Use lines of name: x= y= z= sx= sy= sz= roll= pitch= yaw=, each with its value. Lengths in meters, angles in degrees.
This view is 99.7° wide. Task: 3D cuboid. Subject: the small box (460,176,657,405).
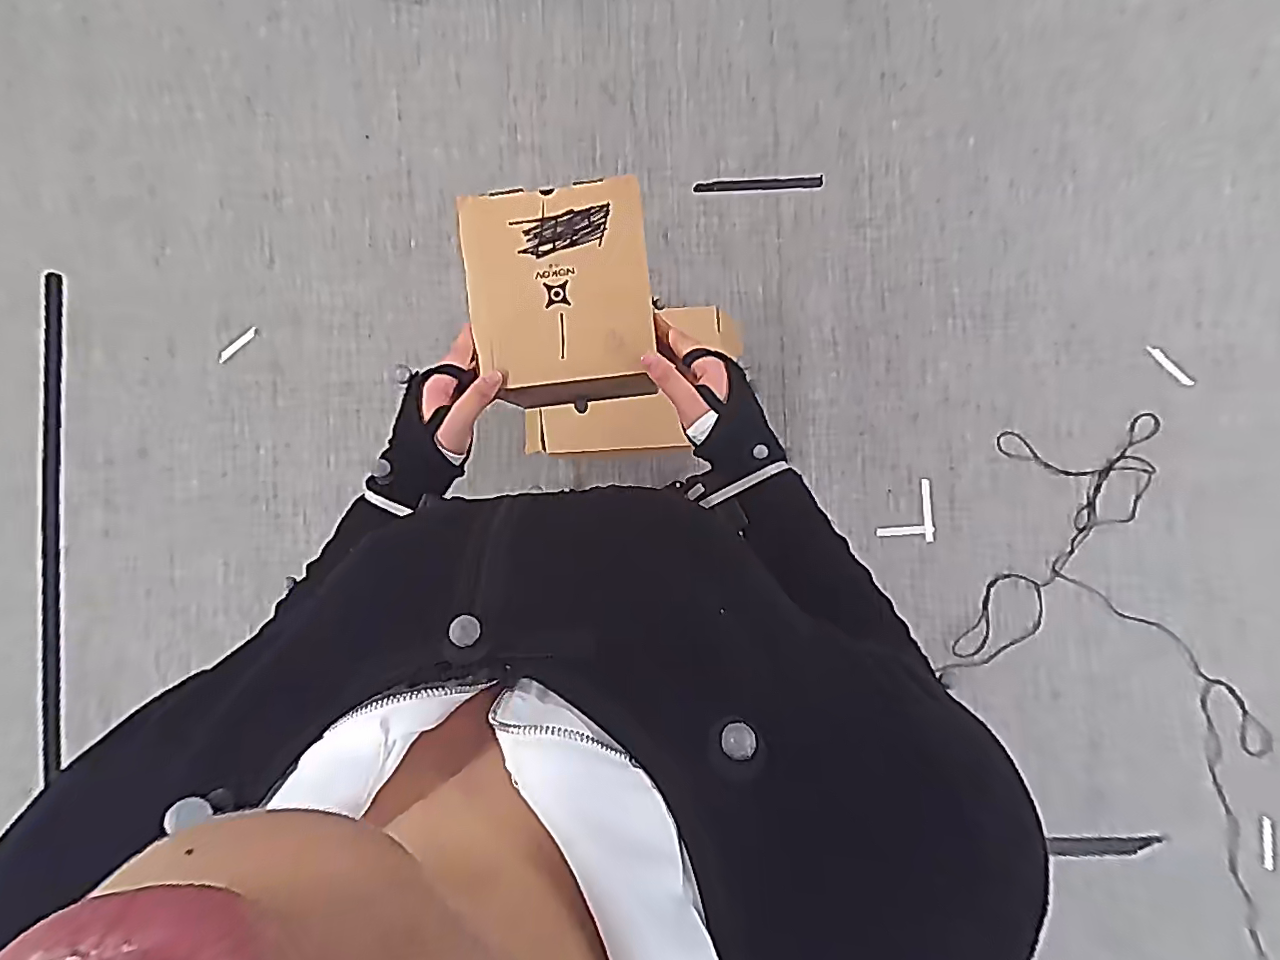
small box: x=-0.072 y=-0.180 z=0.565 sx=0.168 sy=0.176 sz=0.179 roll=-6 pitch=92 yaw=2
